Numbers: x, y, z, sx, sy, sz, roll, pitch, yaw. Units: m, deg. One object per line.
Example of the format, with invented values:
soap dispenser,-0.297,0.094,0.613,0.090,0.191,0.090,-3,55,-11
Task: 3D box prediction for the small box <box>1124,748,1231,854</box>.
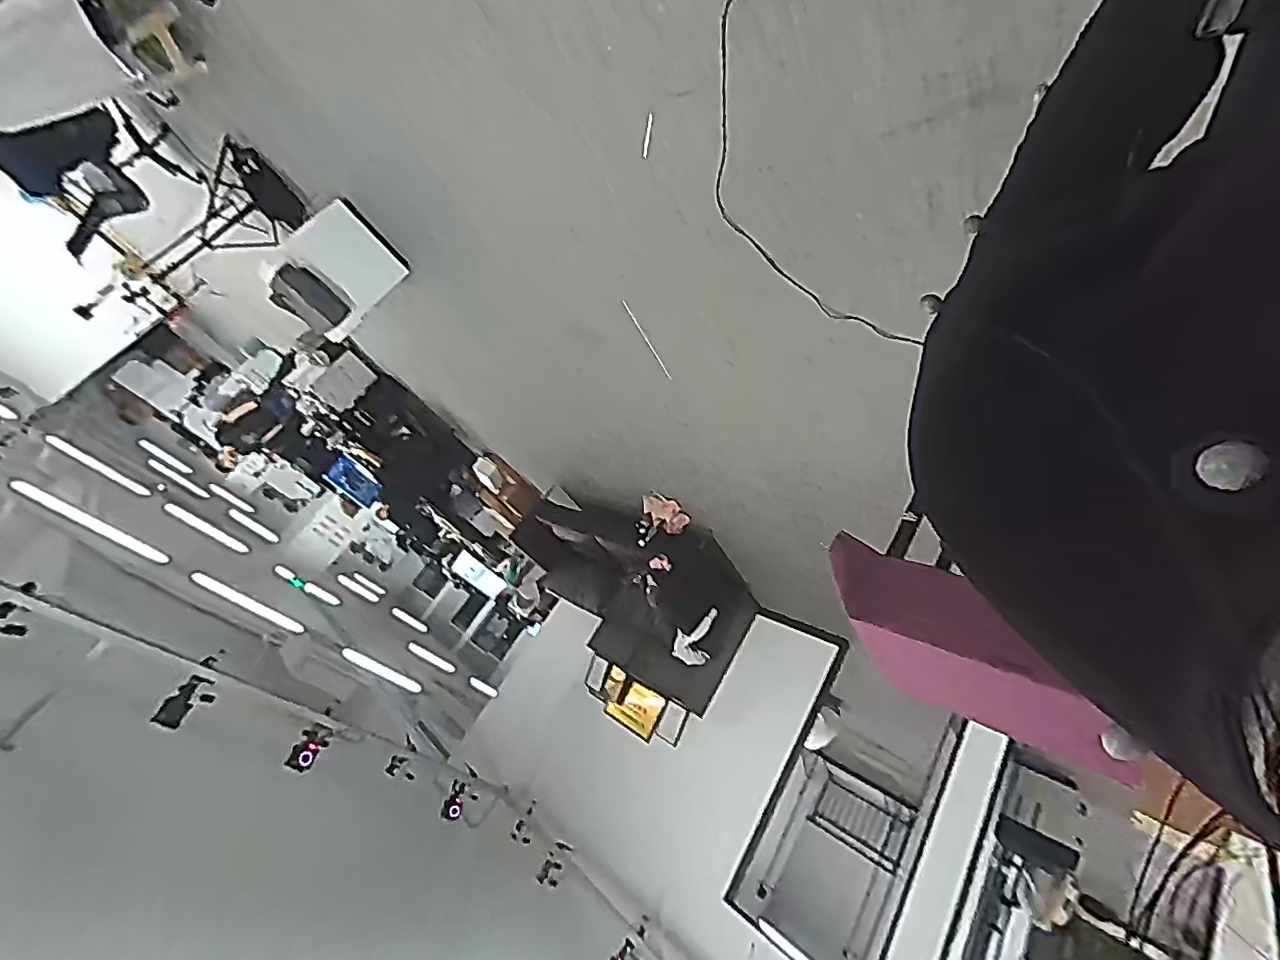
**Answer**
small box,1.440,0.852,1.455,0.179,0.176,0.168,13,150,47
